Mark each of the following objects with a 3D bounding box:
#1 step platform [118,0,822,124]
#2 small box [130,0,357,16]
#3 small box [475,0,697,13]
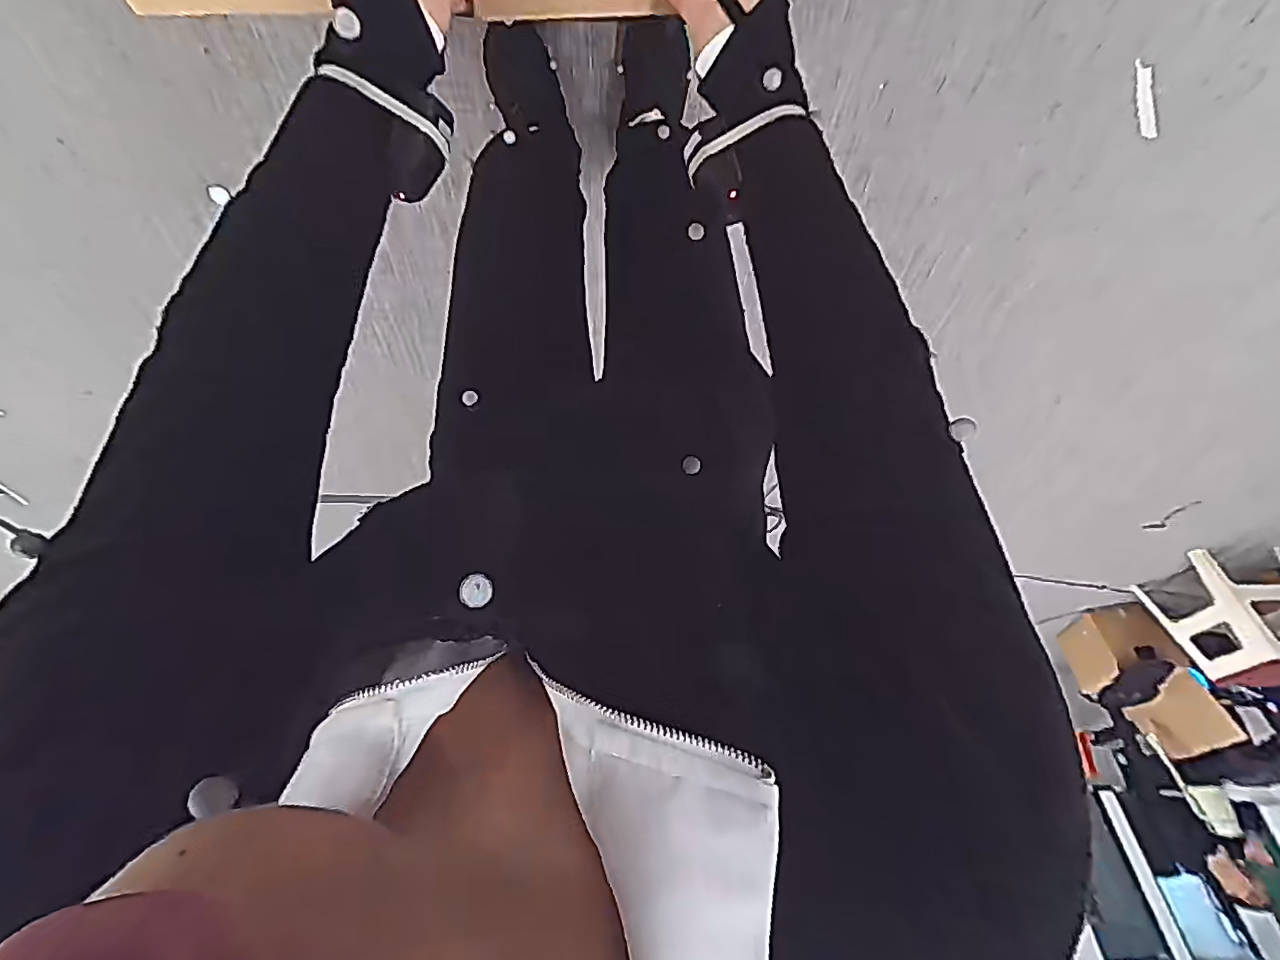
[{"bbox_3d":[-0.163,-0.563,0.545,0.684,0.204,0.286,0,142,-2],"label":"step platform"},{"bbox_3d":[-0.324,-0.493,0.418,0.168,0.176,0.179,-1,143,-1],"label":"small box"},{"bbox_3d":[-0.040,-0.476,0.402,0.179,0.176,0.168,0,145,2],"label":"small box"}]
